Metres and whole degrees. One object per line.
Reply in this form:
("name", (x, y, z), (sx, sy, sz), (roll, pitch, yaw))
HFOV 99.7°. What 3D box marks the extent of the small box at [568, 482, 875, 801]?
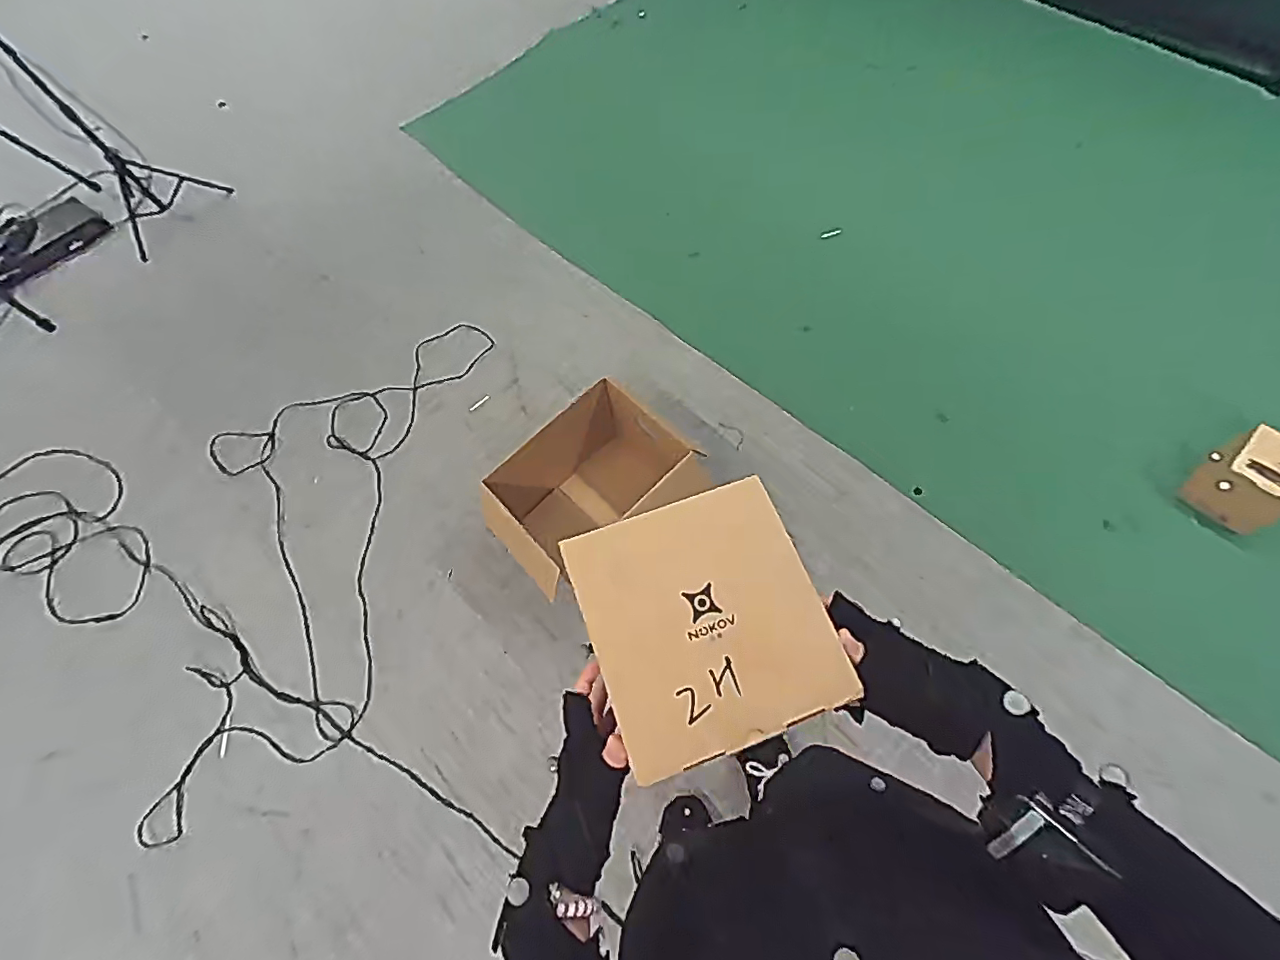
("small box", (0.048, 0.130, 0.444), (0.168, 0.176, 0.179), (-18, 69, -8))
